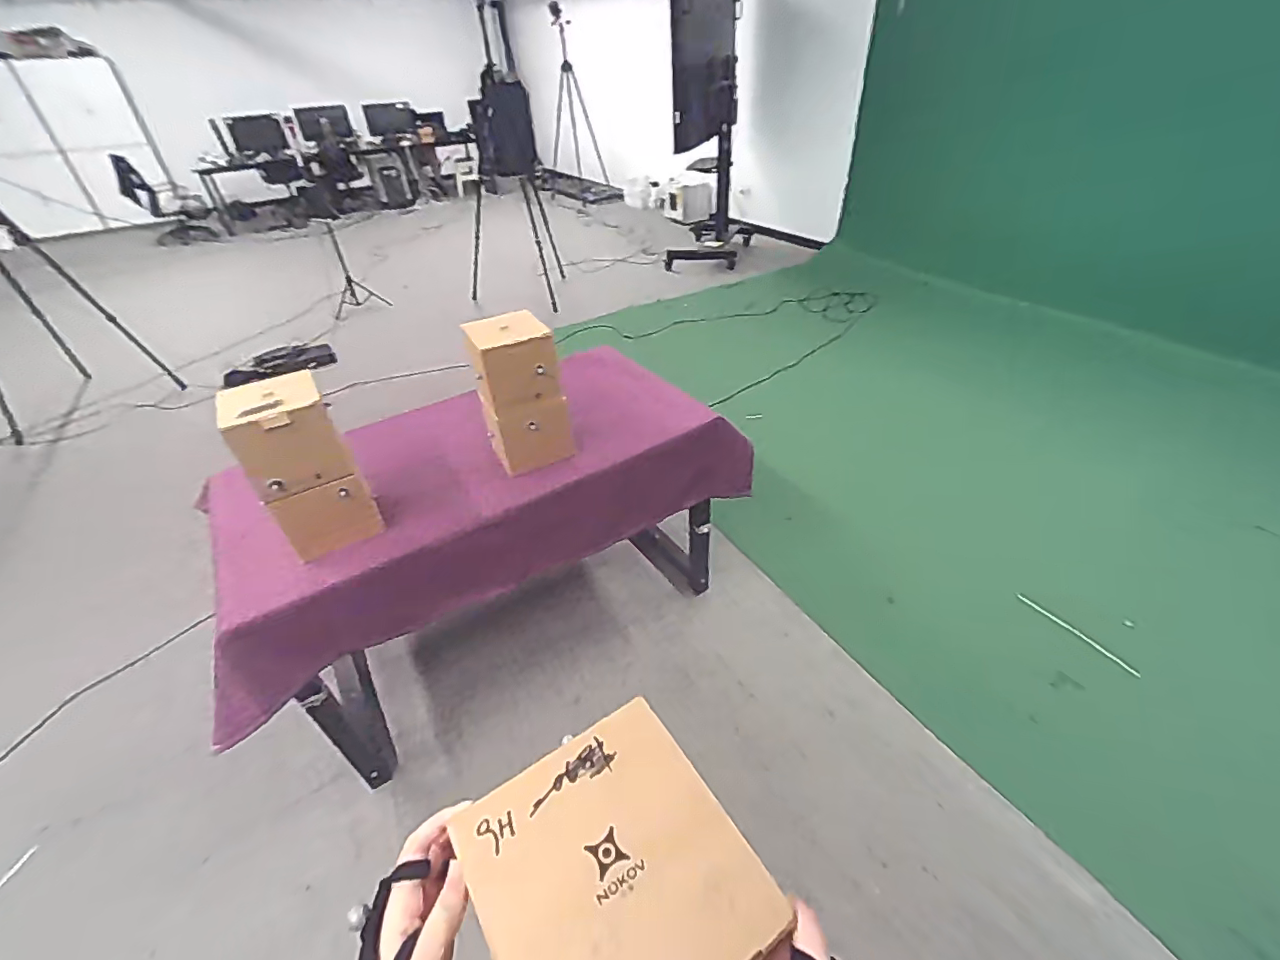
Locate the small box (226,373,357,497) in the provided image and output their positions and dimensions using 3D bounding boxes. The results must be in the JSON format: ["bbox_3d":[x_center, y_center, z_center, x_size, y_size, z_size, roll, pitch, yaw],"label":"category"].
[{"bbox_3d":[-0.687,-0.087,1.075,0.168,0.176,0.179,-24,40,-24],"label":"small box"}]

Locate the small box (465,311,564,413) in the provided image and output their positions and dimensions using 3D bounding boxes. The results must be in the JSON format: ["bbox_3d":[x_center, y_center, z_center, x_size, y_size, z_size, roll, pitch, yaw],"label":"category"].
[{"bbox_3d":[-0.290,-0.273,1.268,0.168,0.176,0.179,-21,40,-20],"label":"small box"}]

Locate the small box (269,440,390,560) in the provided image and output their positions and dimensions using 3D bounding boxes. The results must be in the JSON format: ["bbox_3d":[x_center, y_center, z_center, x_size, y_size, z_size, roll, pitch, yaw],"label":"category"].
[{"bbox_3d":[-0.672,0.045,1.173,0.179,0.176,0.168,-23,41,-23],"label":"small box"}]

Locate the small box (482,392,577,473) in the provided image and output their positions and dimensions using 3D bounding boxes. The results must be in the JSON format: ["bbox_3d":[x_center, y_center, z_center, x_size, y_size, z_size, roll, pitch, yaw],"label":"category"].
[{"bbox_3d":[-0.274,-0.141,1.362,0.179,0.176,0.168,-21,41,-19],"label":"small box"}]
